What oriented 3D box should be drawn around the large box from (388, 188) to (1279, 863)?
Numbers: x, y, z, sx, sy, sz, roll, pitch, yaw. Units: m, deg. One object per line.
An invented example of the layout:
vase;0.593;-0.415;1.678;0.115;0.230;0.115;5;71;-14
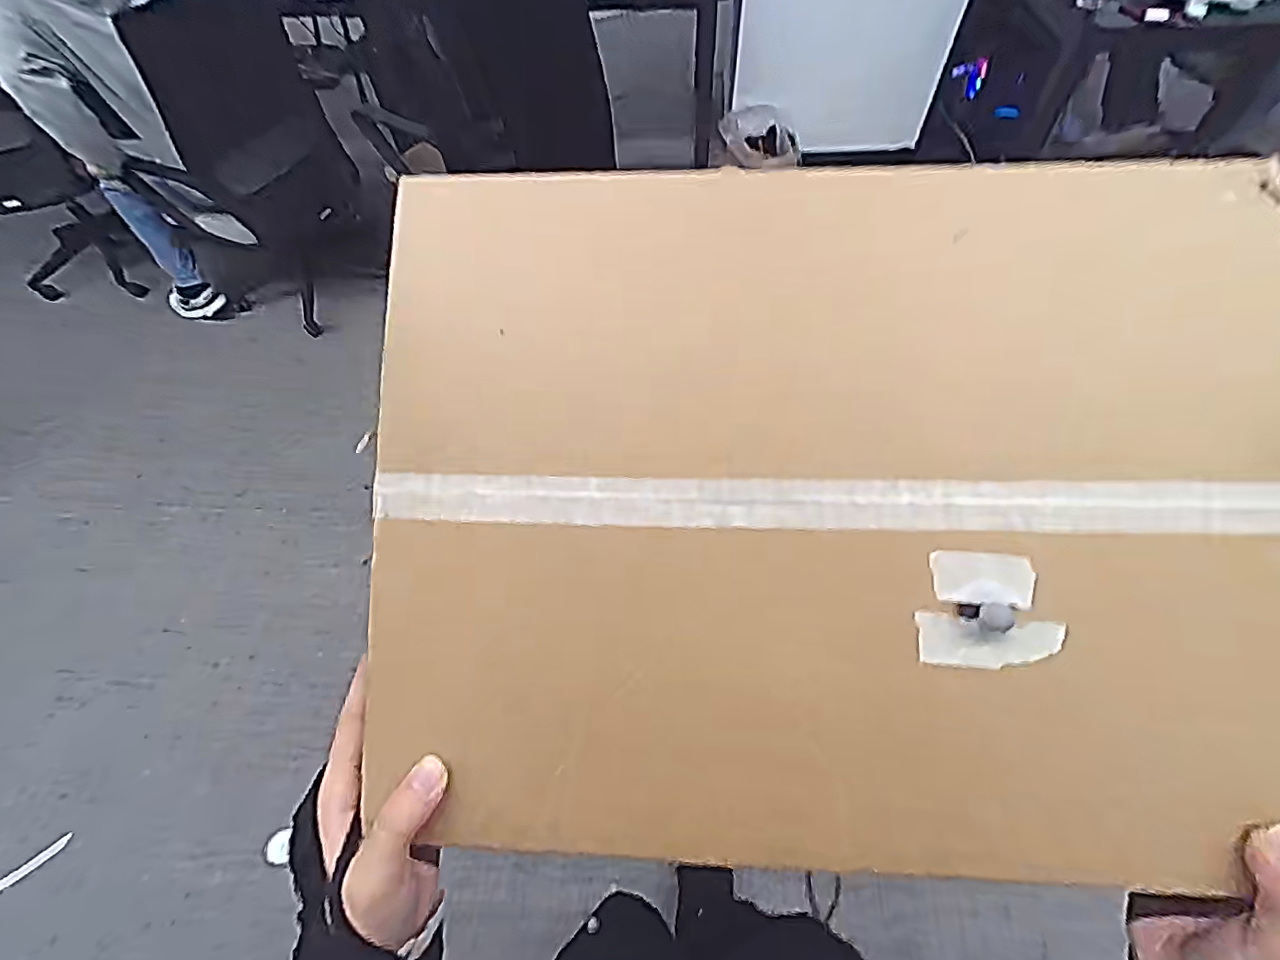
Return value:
large box;0.087;0.028;0.400;0.408;0.320;0.320;0;85;3
